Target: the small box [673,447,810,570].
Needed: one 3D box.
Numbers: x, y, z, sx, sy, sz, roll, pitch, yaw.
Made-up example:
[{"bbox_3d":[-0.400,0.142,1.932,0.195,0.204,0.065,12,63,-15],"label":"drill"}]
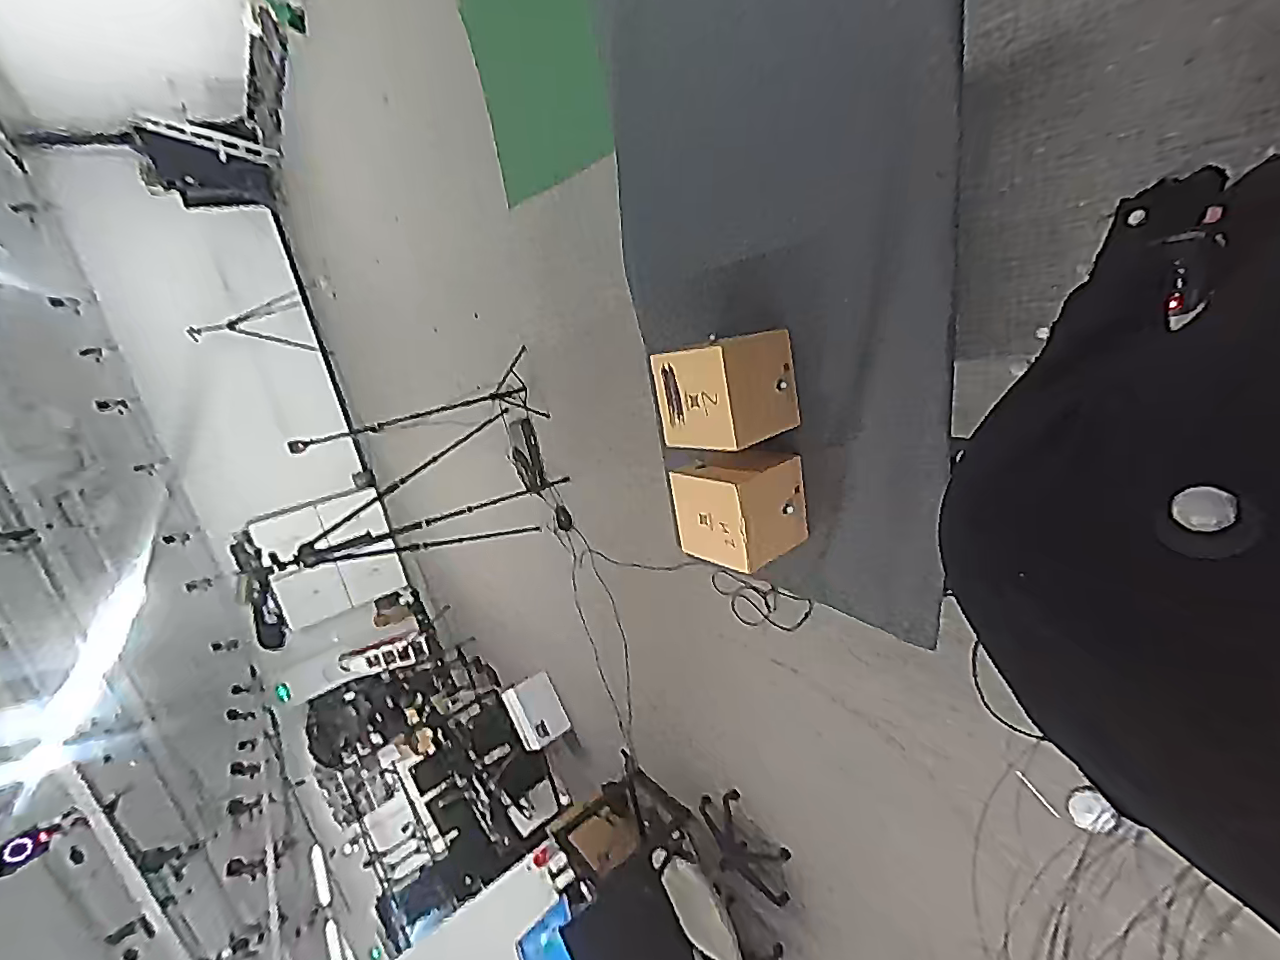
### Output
[{"bbox_3d":[0.188,0.041,1.003,0.179,0.176,0.168,12,118,52],"label":"small box"}]
